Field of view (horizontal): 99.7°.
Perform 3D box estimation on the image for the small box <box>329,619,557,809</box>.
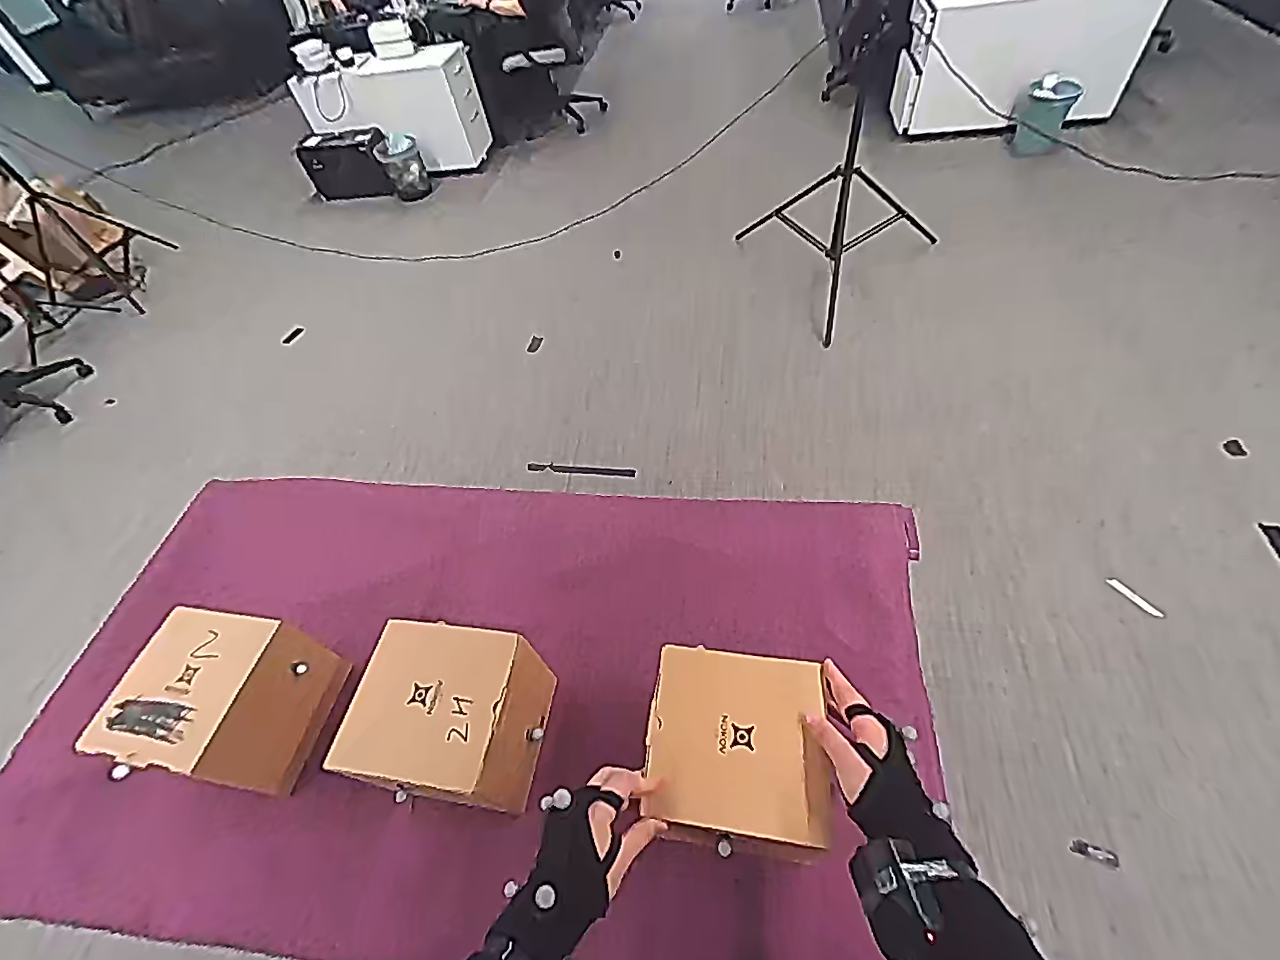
[{"bbox_3d":[-0.219,0.286,0.655,0.179,0.176,0.168,3,54,11],"label":"small box"}]
